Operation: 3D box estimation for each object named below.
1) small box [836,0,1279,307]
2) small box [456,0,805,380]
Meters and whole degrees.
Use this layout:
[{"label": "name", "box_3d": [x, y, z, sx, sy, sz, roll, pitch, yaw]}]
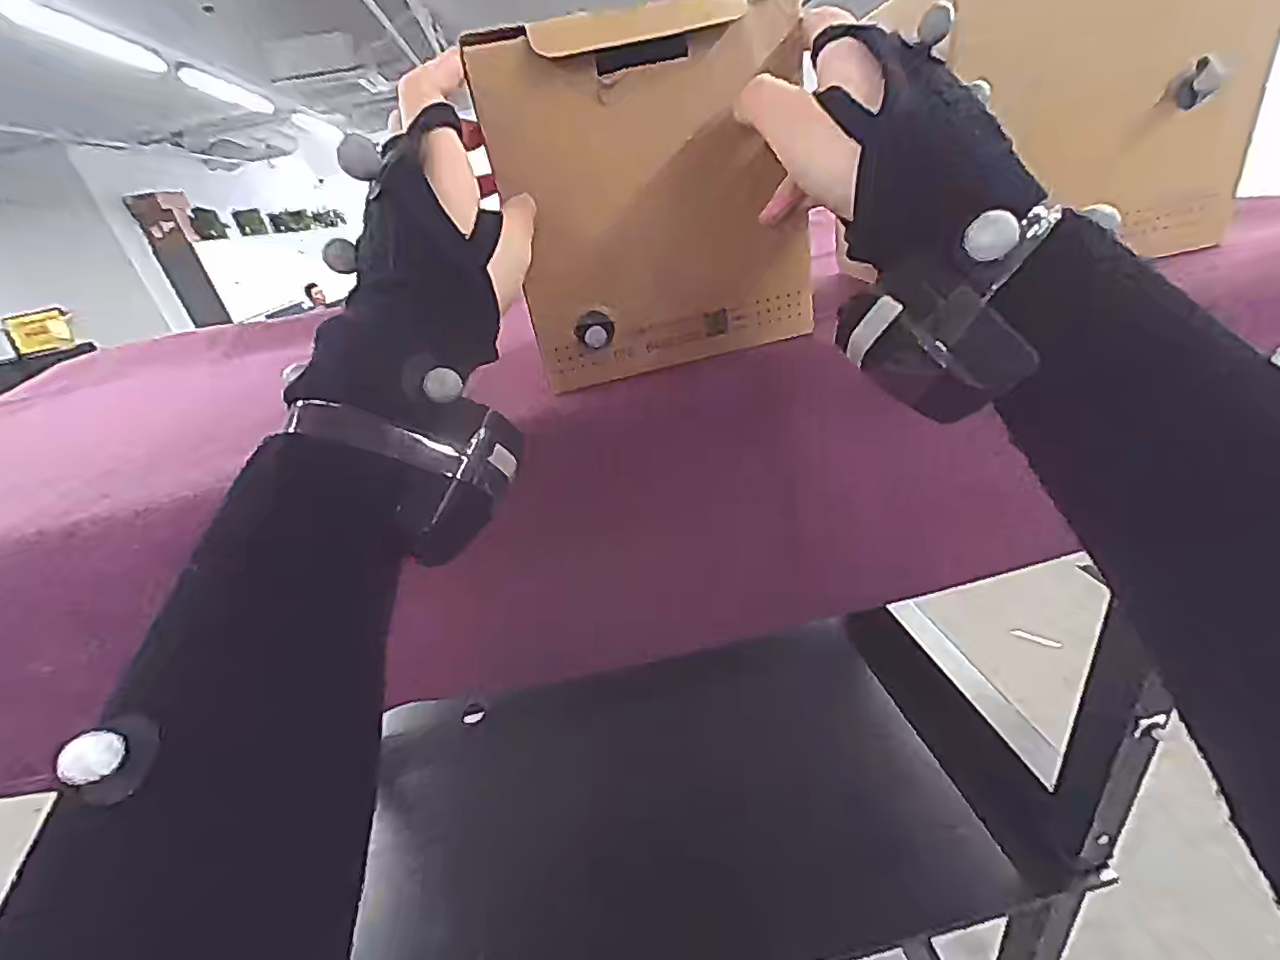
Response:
[{"label": "small box", "box_3d": [0.245, -0.227, 0.358, 0.179, 0.176, 0.168, -12, 27, 2]}, {"label": "small box", "box_3d": [-0.004, -0.174, 0.355, 0.168, 0.176, 0.179, -14, 27, -5]}]
